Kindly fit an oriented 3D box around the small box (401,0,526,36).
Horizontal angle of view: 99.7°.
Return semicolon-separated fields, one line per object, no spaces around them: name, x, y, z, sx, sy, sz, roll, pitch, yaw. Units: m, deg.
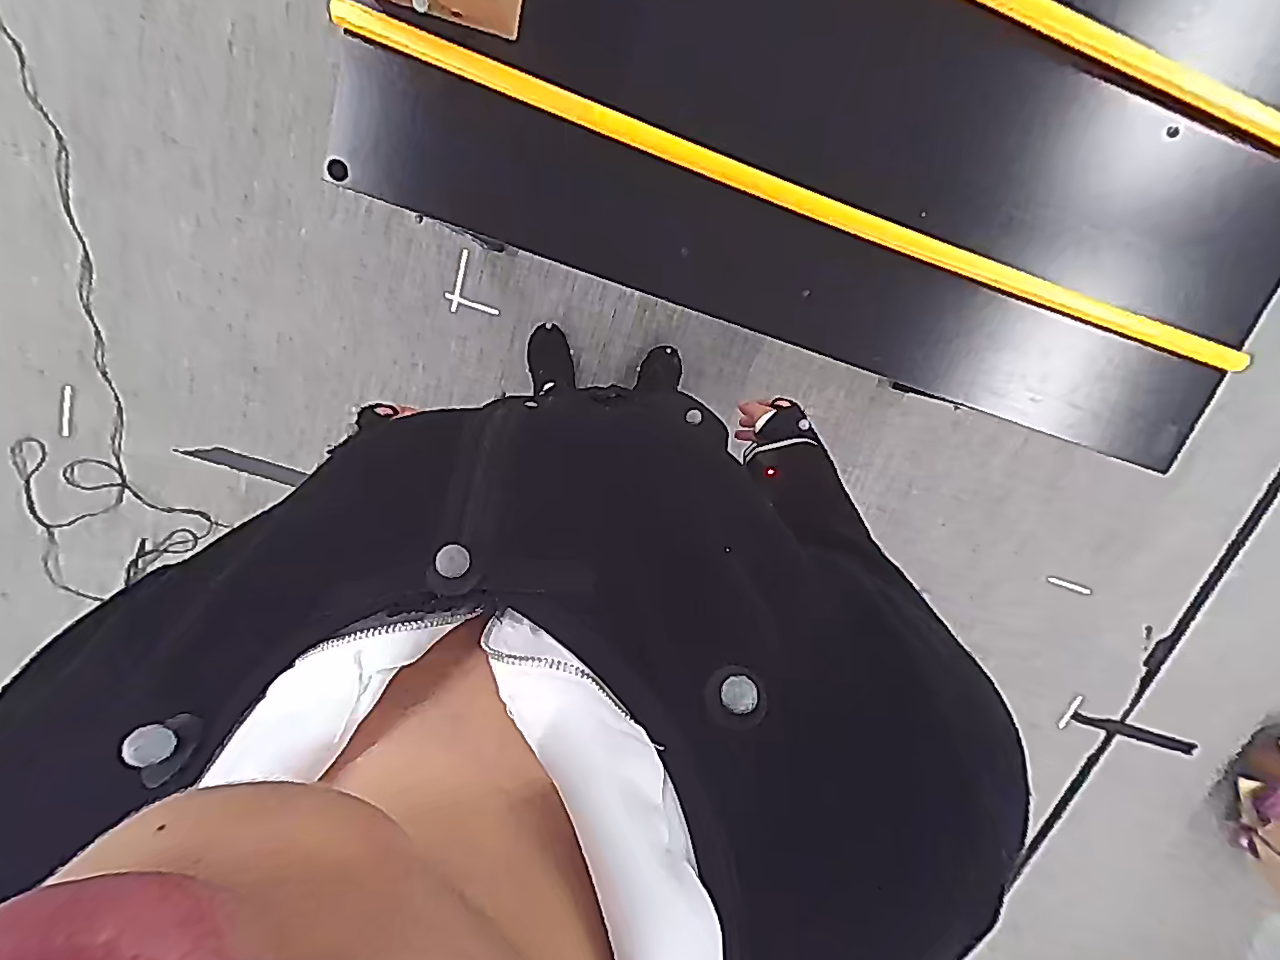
small box;-0.186;-0.568;0.495;0.168;0.176;0.179;13;107;-7
